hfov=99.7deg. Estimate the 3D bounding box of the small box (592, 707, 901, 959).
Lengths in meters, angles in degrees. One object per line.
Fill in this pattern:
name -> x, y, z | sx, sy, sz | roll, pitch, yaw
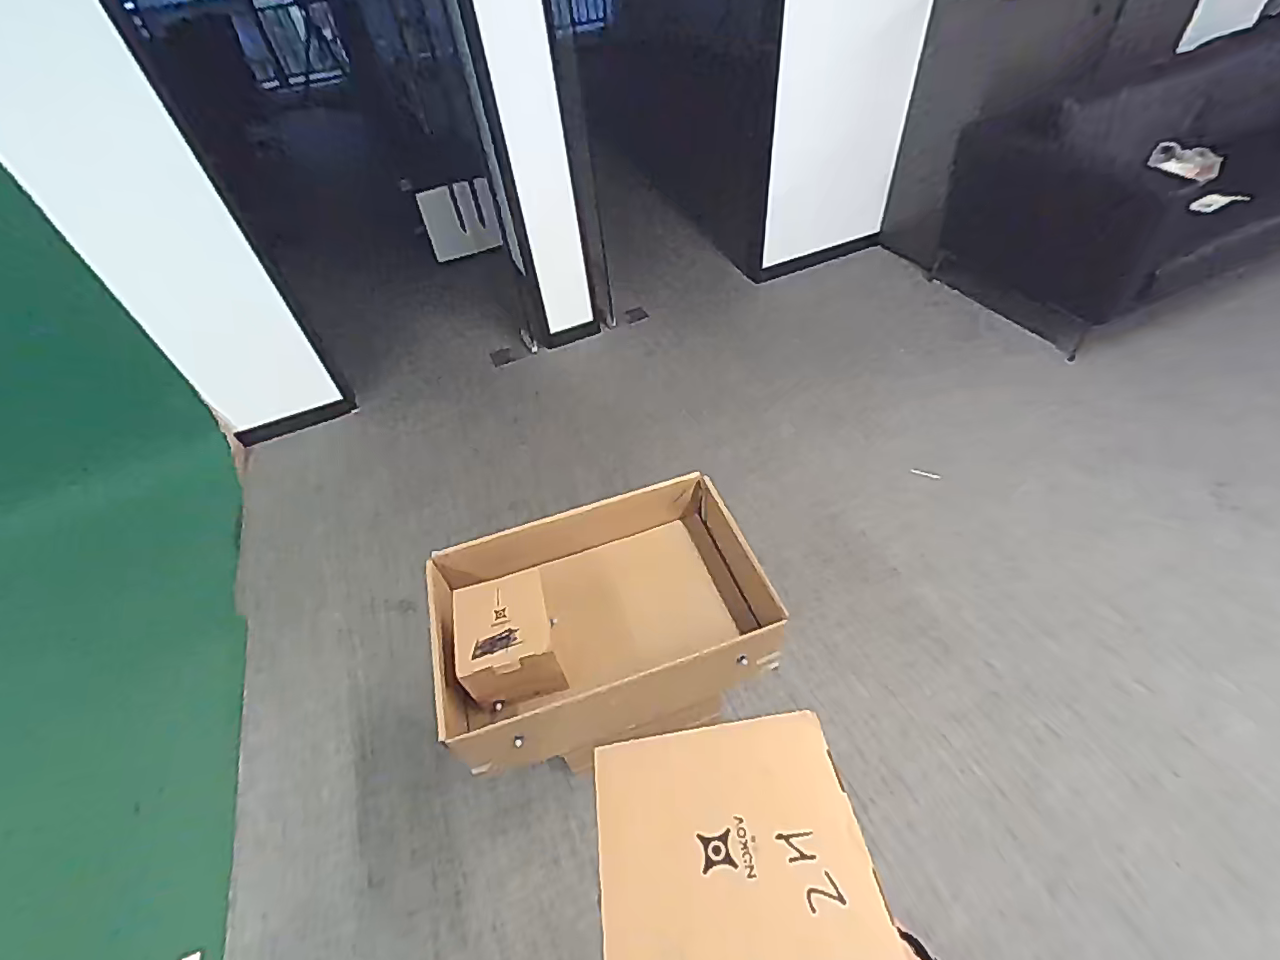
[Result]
small box -> 0.066, 0.302, 0.411 | 0.179, 0.176, 0.168 | -9, 40, -1
